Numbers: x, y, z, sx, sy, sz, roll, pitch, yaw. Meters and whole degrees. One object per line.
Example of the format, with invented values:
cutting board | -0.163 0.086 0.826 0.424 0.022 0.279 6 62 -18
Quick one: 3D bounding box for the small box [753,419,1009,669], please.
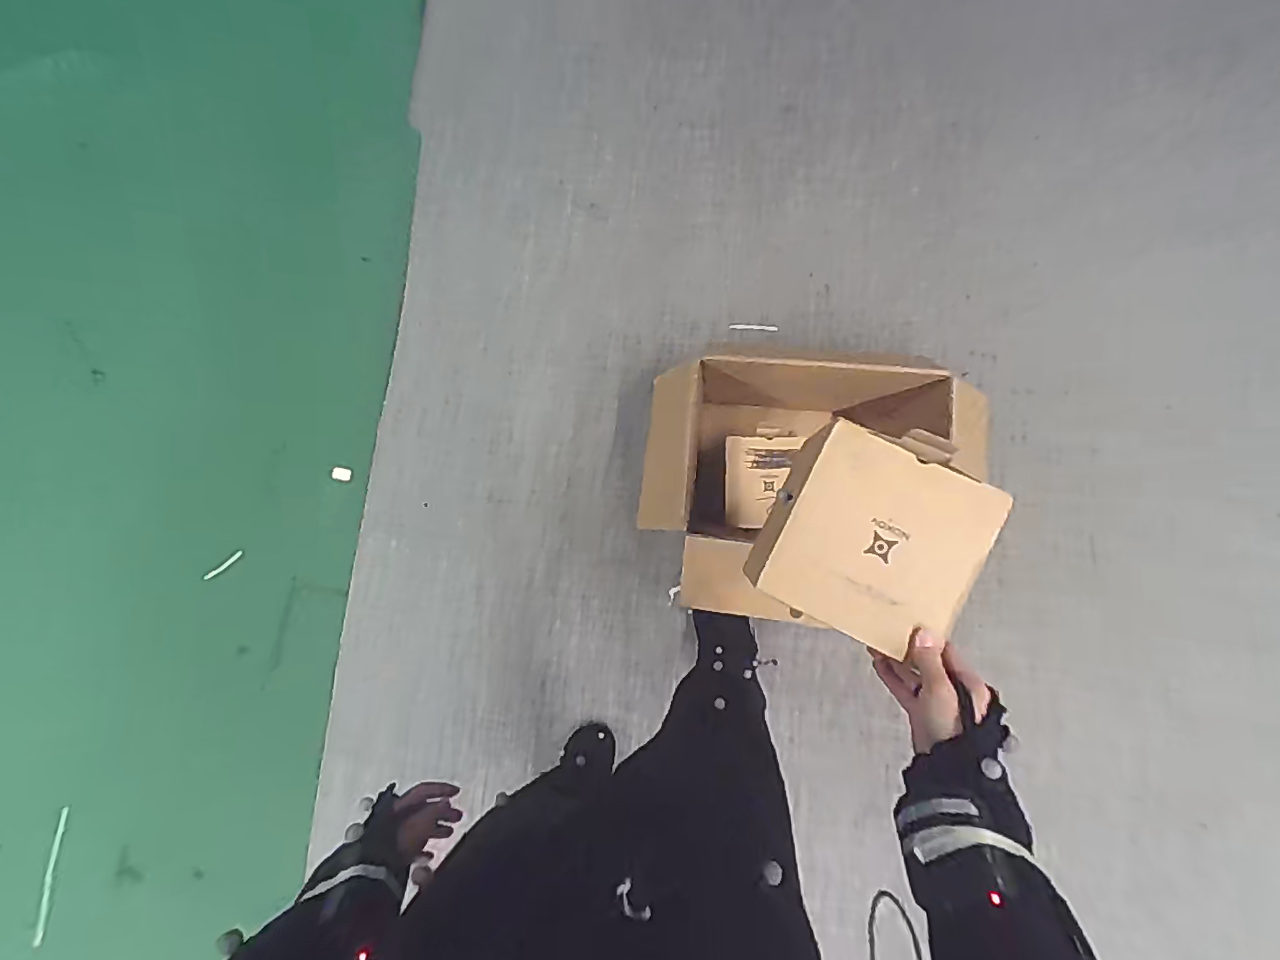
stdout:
small box | 0.227 0.061 0.564 0.168 0.176 0.179 25 89 9
